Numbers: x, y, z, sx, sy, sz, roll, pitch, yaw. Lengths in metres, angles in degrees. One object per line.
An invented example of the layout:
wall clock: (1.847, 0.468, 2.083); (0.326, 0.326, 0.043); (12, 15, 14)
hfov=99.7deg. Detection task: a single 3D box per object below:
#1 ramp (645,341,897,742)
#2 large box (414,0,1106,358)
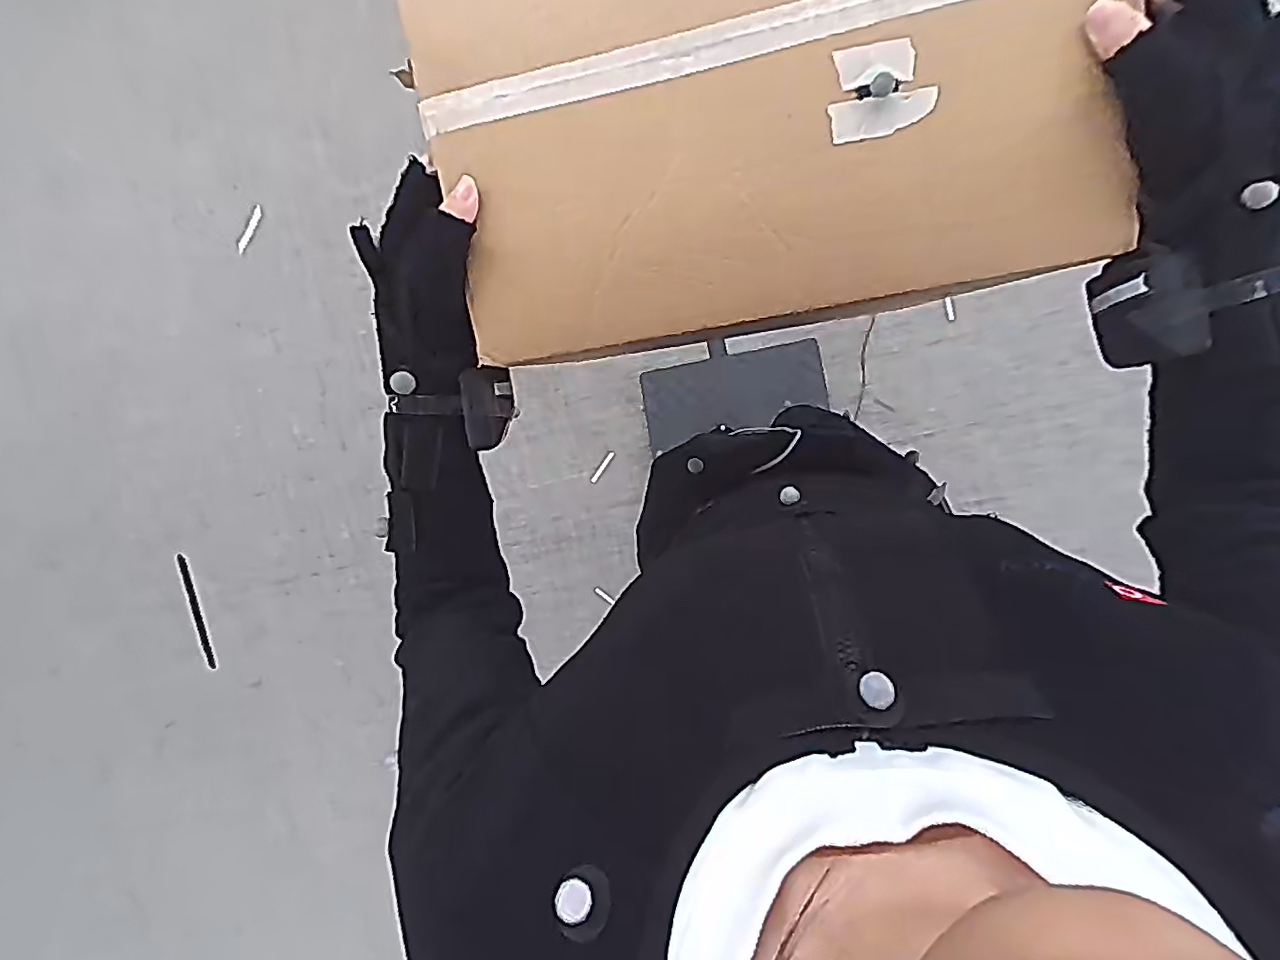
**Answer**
ramp: (0.321, 0.153, 1.434); (0.509, 0.206, 0.991); (-12, 92, 10)
large box: (0.077, -0.297, 0.472); (0.408, 0.320, 0.320); (-9, 102, 8)
